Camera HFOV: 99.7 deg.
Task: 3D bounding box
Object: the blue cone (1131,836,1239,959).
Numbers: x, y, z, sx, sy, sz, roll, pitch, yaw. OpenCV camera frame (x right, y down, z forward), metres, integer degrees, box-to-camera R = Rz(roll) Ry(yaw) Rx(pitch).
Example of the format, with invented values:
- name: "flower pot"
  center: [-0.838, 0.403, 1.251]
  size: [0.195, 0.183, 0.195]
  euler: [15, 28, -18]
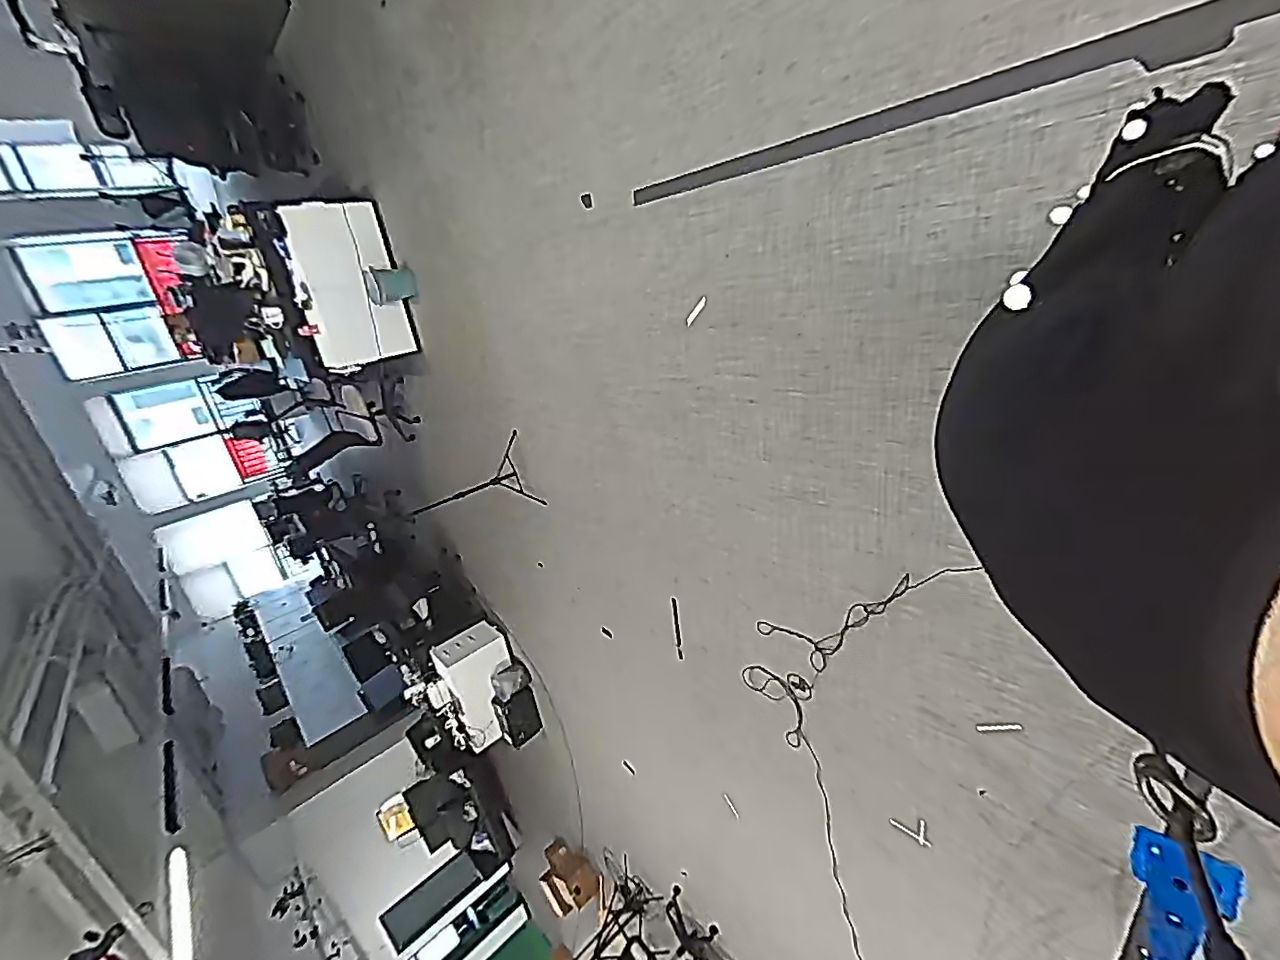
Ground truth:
- name: "blue cone"
  center: [1.291, 1.093, 1.308]
  size: [0.192, 0.380, 0.193]
  euler: [11, 119, 47]
